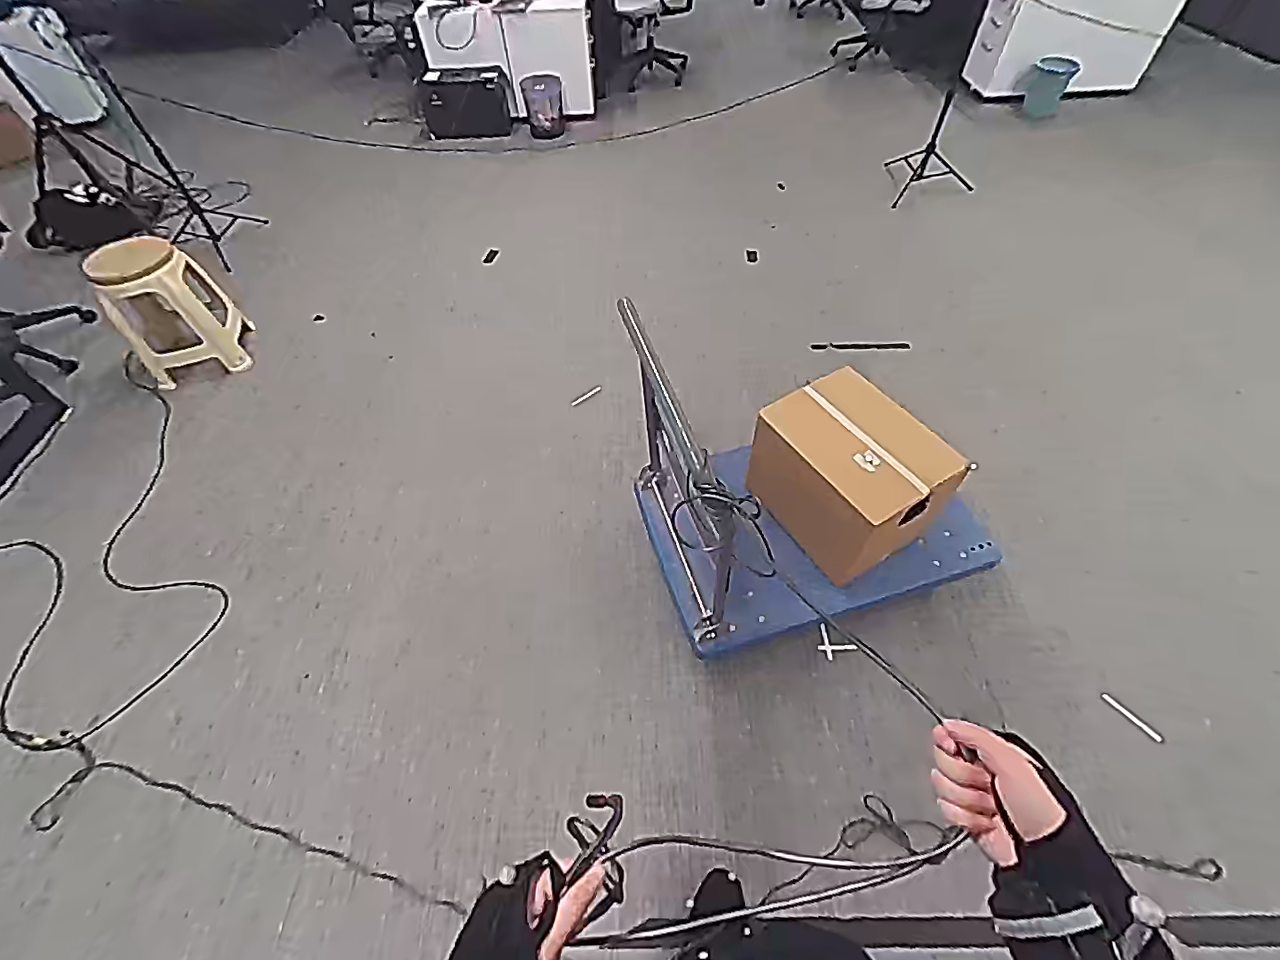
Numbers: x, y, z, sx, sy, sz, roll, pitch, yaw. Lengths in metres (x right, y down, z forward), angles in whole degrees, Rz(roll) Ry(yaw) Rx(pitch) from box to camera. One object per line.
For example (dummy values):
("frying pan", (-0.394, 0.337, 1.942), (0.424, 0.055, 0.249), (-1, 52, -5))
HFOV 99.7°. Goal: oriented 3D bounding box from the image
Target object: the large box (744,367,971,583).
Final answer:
("large box", (0.529, -0.016, 1.411), (0.320, 0.320, 0.408), (-28, 58, -16))
